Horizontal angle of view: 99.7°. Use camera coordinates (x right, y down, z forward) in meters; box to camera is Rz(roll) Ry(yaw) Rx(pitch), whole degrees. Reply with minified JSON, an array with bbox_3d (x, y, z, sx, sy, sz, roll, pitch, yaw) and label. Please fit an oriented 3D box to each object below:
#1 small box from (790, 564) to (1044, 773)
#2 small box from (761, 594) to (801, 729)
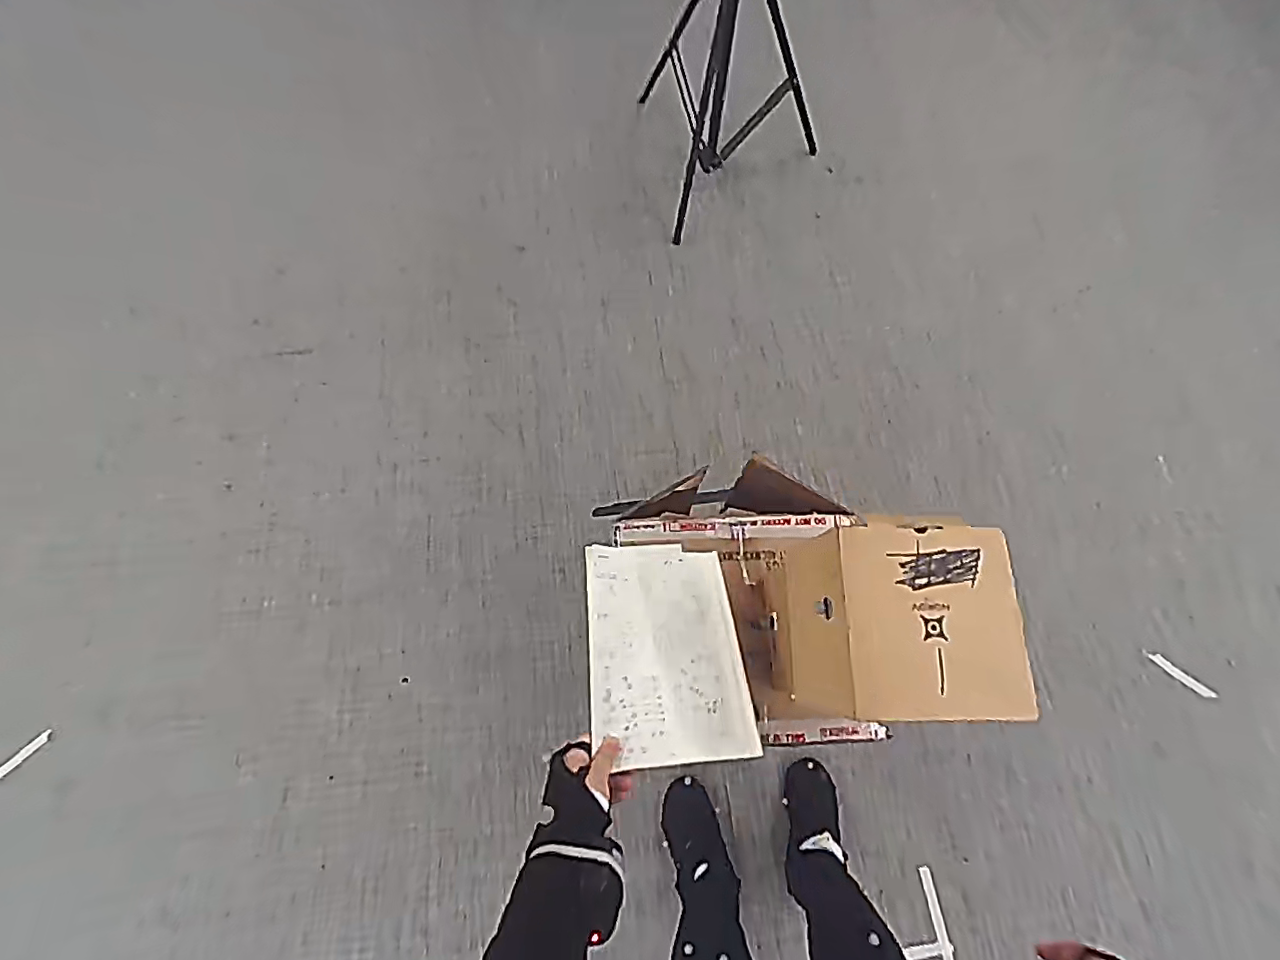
[{"bbox_3d":[0.262,0.188,0.560,0.168,0.176,0.179,2,73,-2],"label":"small box"},{"bbox_3d":[0.274,0.233,0.718,0.179,0.176,0.168,-1,73,-3],"label":"small box"}]
